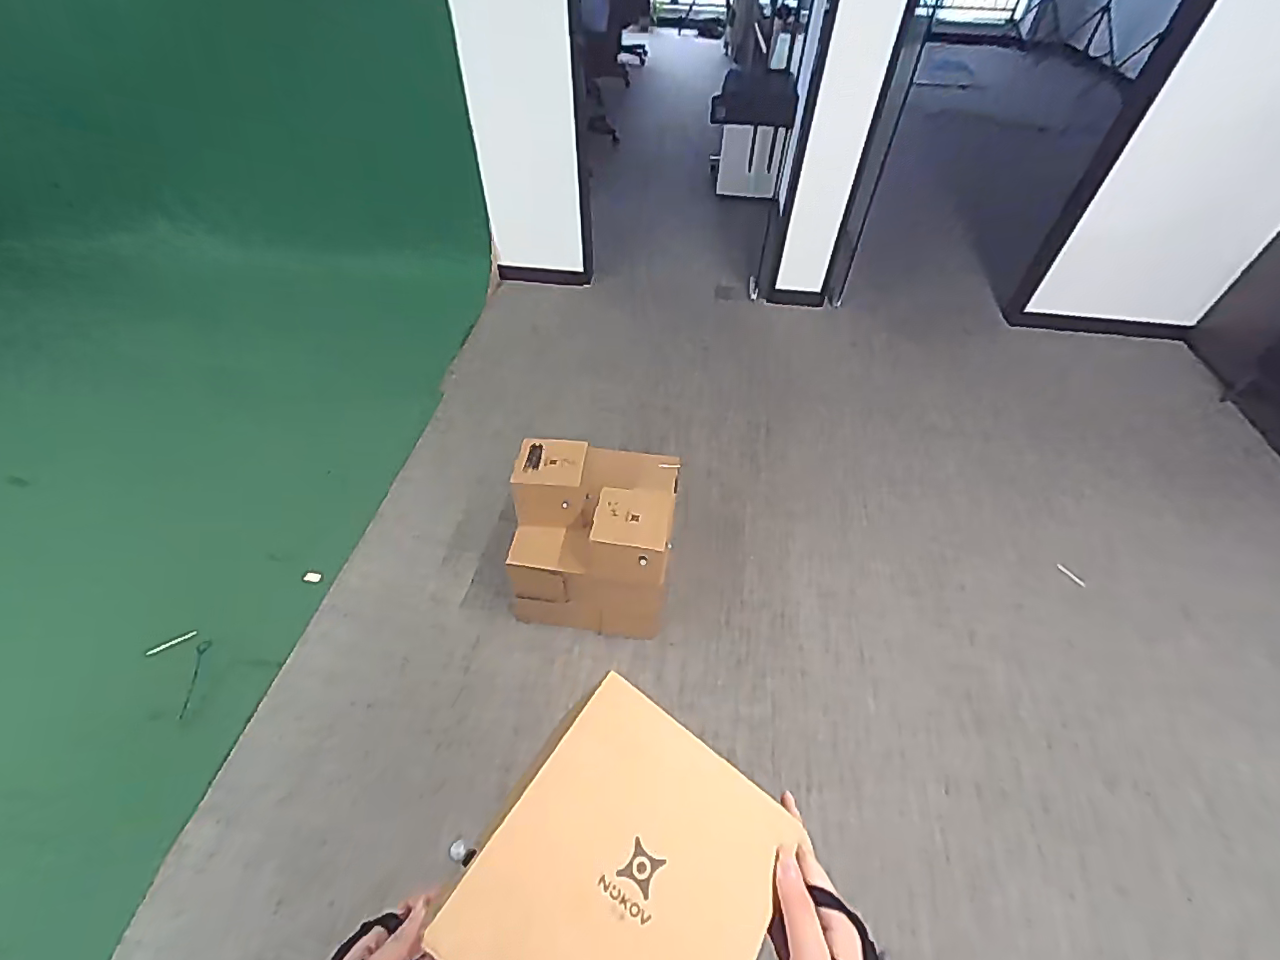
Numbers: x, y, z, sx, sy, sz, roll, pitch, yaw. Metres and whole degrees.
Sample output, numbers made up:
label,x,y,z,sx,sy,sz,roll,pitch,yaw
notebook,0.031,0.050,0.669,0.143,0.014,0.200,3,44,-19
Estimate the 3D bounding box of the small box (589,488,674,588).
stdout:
label,x,y,z,sx,sy,sz,roll,pitch,yaw
small box,-0.020,0.146,1.316,0.179,0.176,0.168,8,48,4
